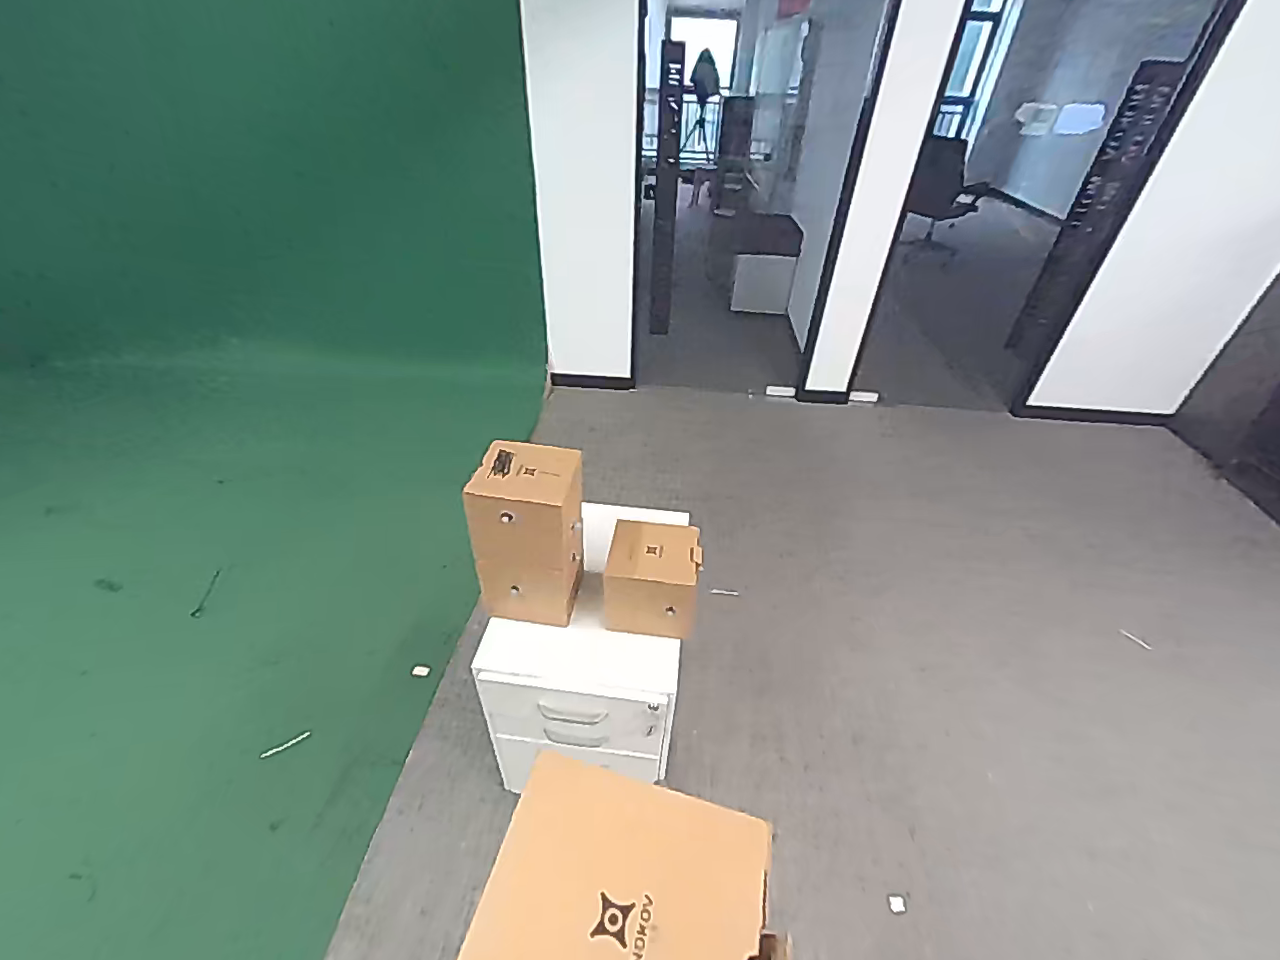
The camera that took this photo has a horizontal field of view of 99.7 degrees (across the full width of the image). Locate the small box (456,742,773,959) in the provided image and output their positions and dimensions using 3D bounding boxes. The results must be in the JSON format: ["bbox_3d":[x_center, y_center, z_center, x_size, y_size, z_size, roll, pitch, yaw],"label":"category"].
[{"bbox_3d":[-0.017,0.325,0.386,0.179,0.176,0.168,14,42,7],"label":"small box"}]

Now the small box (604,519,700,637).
[{"bbox_3d":[0.027,0.202,1.108,0.179,0.176,0.168,4,37,5],"label":"small box"}]

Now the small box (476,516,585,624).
[{"bbox_3d":[-0.217,0.178,1.122,0.179,0.176,0.168,7,39,4],"label":"small box"}]

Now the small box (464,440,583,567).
[{"bbox_3d":[-0.210,0.046,1.022,0.179,0.176,0.168,8,39,3],"label":"small box"}]
